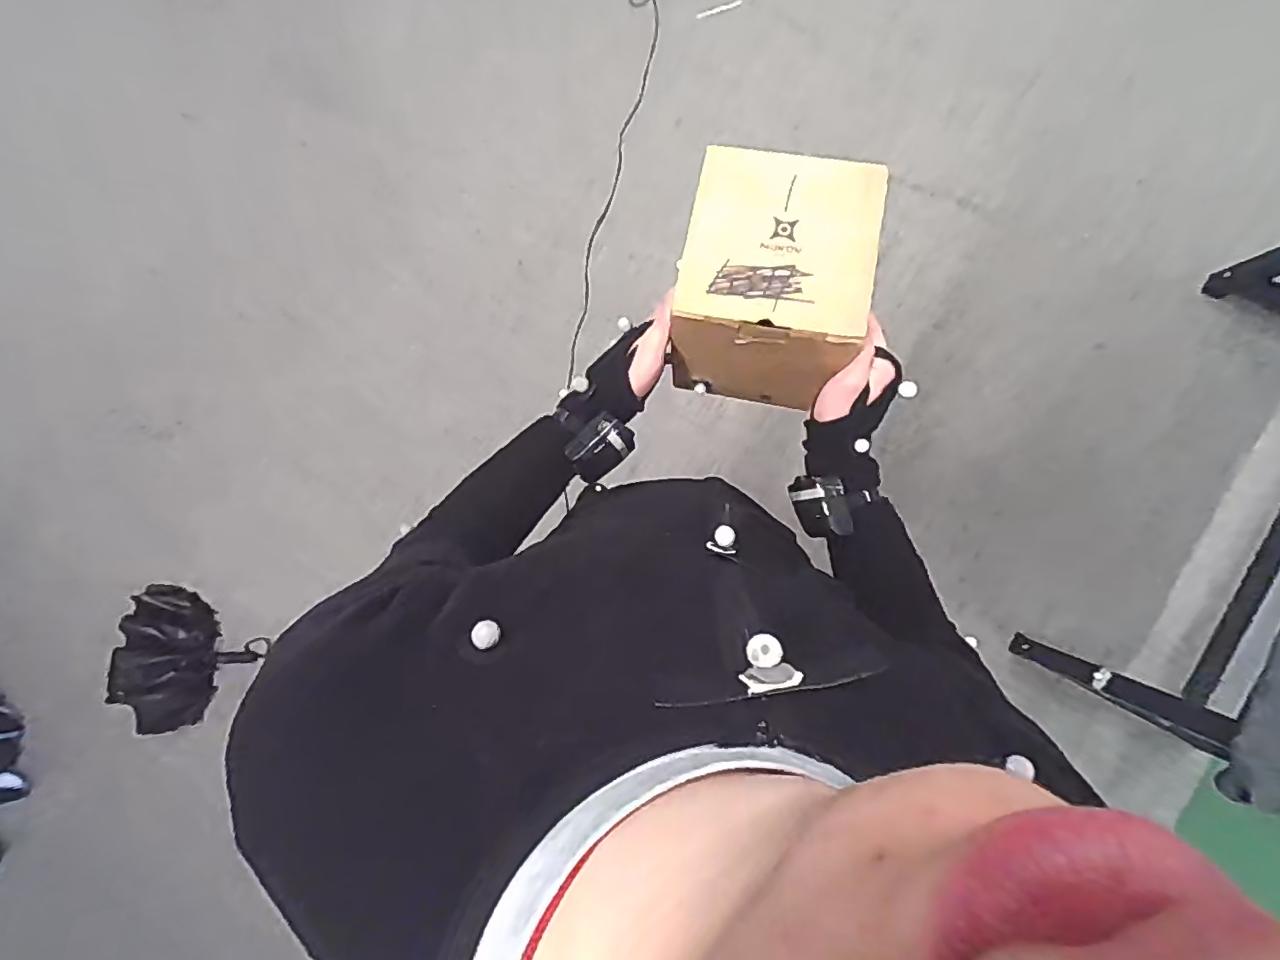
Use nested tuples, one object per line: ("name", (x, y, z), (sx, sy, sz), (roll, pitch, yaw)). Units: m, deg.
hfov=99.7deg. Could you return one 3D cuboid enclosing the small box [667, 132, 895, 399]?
("small box", (0.128, -0.197, 0.537), (0.168, 0.176, 0.179), (12, 79, 7))
